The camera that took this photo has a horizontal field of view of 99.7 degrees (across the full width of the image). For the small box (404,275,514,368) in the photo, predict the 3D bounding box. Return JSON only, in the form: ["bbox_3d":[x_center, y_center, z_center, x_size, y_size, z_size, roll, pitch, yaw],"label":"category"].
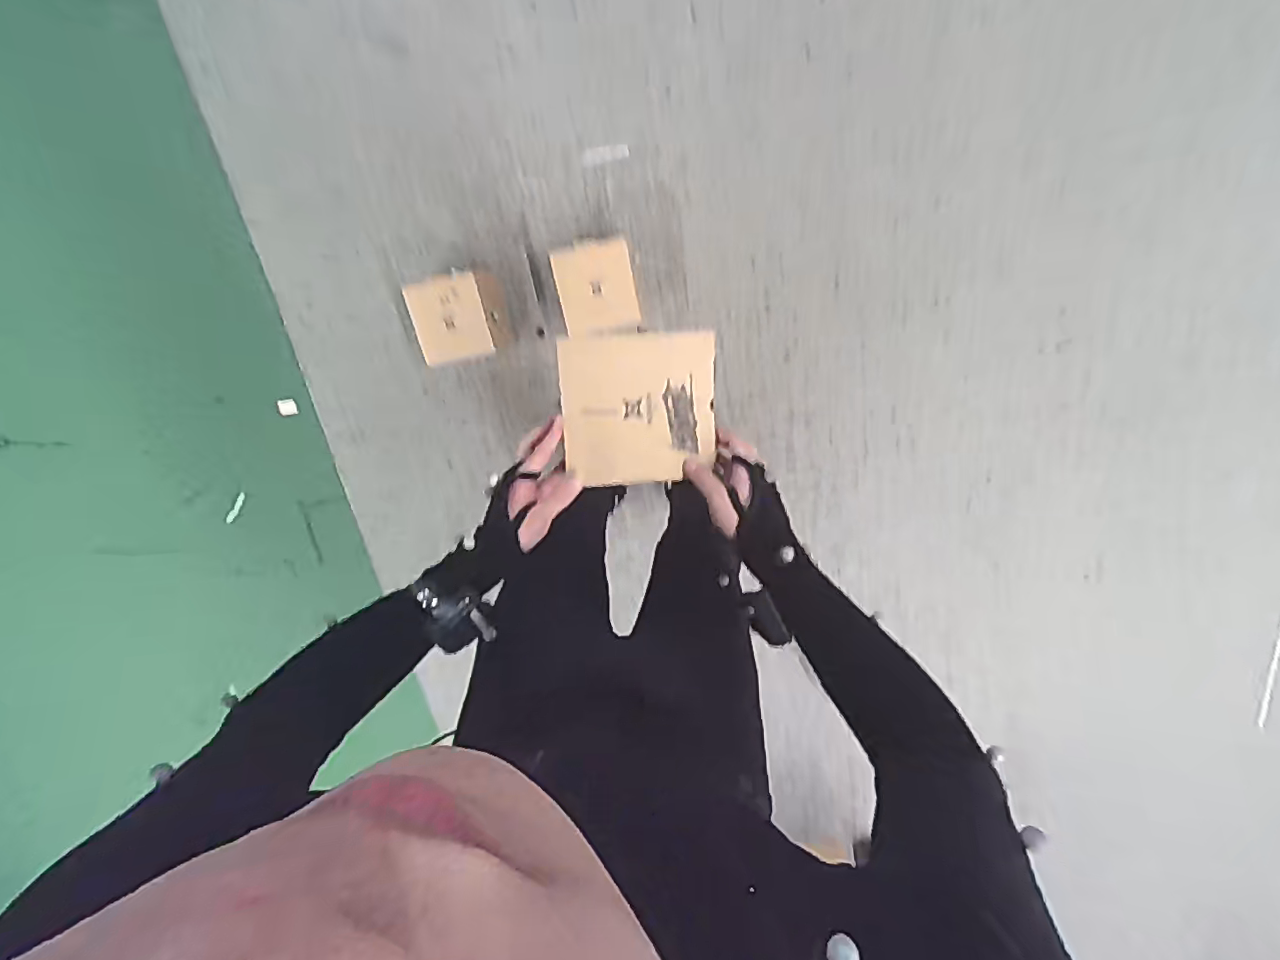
[{"bbox_3d":[-0.407,-0.371,1.252,0.168,0.176,0.179,-9,109,6],"label":"small box"}]

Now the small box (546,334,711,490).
[{"bbox_3d":[-0.018,-0.089,0.660,0.179,0.176,0.168,-3,102,-5],"label":"small box"}]

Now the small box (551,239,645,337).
[{"bbox_3d":[-0.086,-0.426,1.211,0.168,0.176,0.179,-9,110,8],"label":"small box"}]
